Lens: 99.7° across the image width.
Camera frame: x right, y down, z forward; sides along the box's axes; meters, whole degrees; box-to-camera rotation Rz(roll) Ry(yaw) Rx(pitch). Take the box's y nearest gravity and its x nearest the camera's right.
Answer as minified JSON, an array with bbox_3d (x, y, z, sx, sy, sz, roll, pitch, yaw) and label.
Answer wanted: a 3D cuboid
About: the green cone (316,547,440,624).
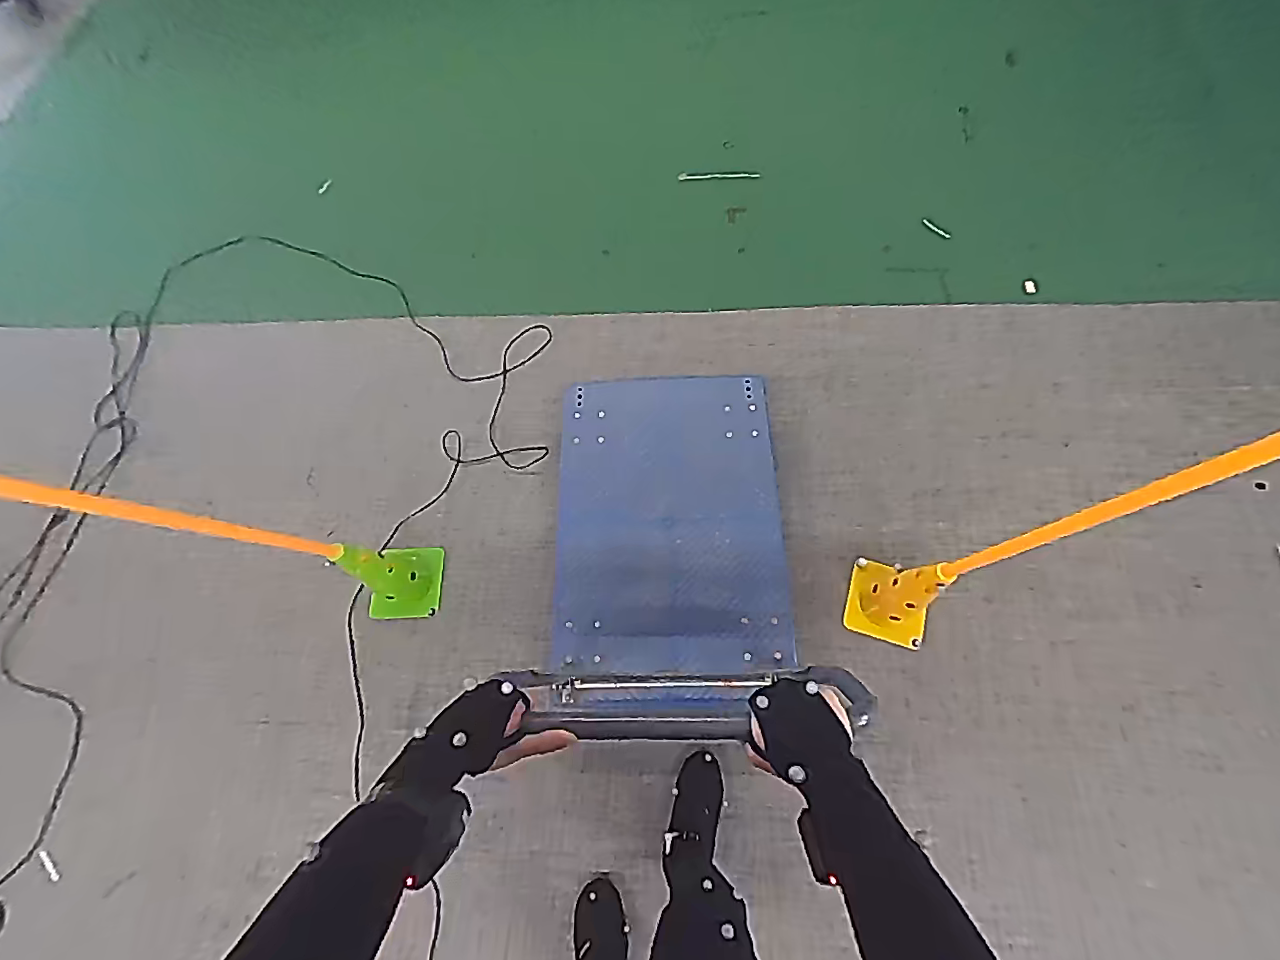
[{"bbox_3d":[-0.687,0.234,1.377,0.202,0.368,0.200,-4,66,4],"label":"green cone"}]
